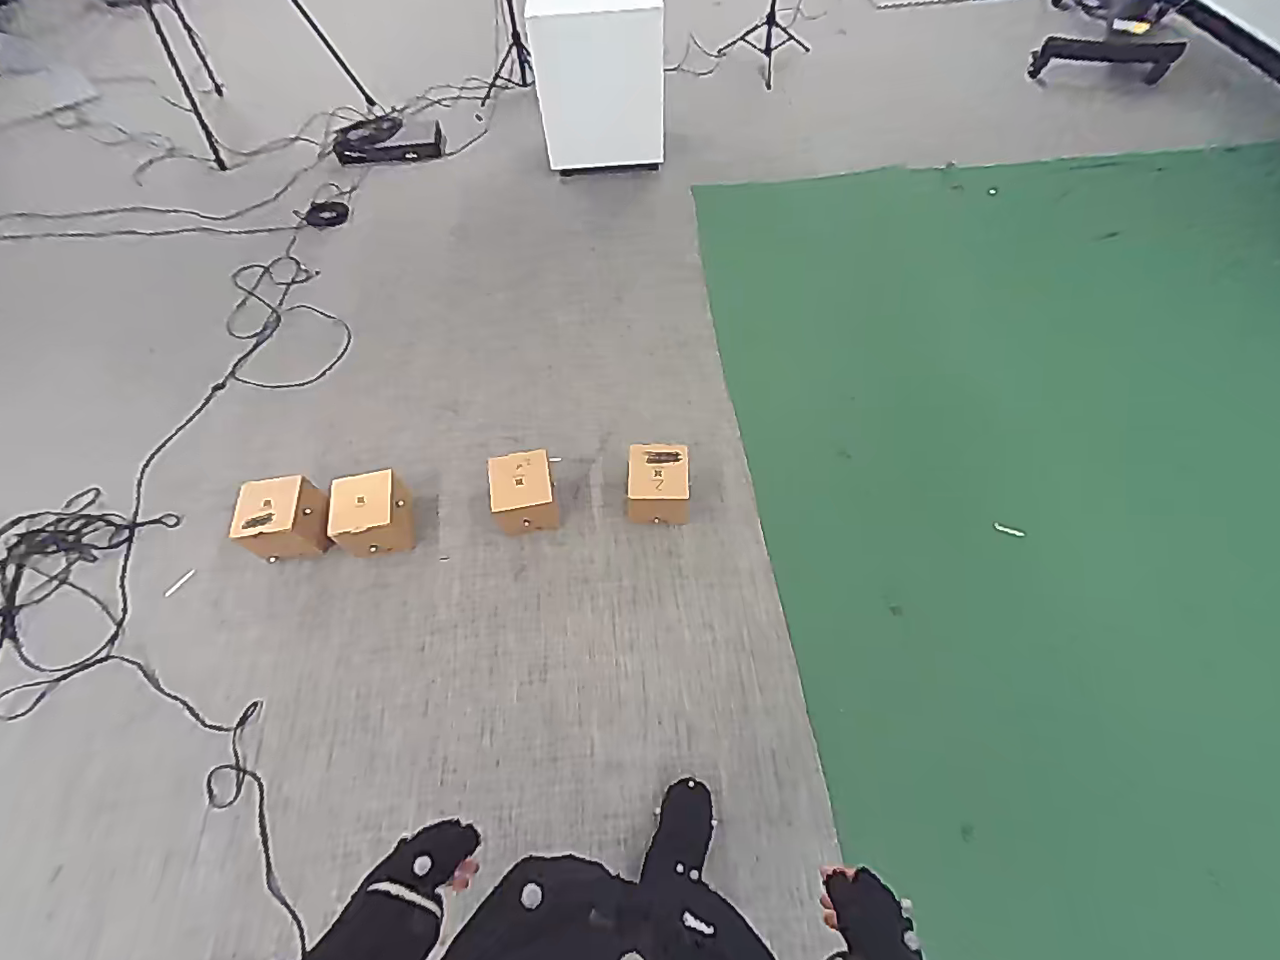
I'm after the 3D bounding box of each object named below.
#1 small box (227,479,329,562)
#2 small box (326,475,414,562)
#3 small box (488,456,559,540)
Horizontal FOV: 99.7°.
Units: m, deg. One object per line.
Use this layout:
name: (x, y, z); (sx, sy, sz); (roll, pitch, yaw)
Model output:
small box: (-1.007, 0.121, 1.524); (0.168, 0.176, 0.179); (-8, 59, -3)
small box: (-0.752, 0.111, 1.524); (0.168, 0.176, 0.179); (-11, 61, -4)
small box: (-0.329, 0.059, 1.543); (0.168, 0.176, 0.179); (-9, 60, -5)
